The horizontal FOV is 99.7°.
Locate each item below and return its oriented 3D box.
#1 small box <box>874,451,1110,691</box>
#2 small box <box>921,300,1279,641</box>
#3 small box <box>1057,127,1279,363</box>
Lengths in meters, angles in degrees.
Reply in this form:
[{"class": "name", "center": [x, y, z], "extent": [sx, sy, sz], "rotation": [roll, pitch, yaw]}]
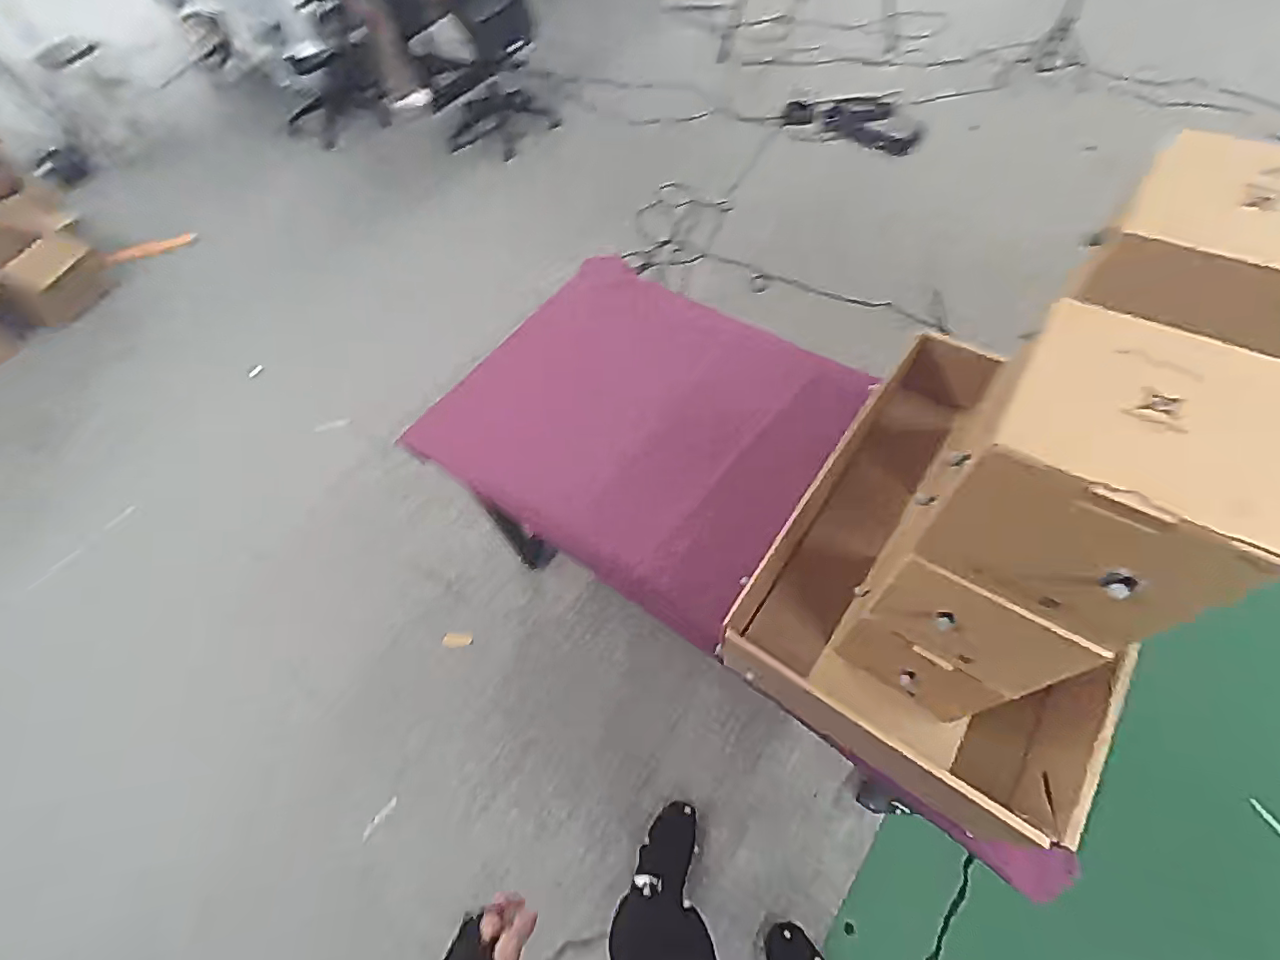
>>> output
[{"class": "small box", "center": [0.367, 0.090, 0.564], "extent": [0.168, 0.176, 0.179], "rotation": [30, 65, 23]}, {"class": "small box", "center": [0.353, -0.002, 0.430], "extent": [0.168, 0.176, 0.179], "rotation": [29, 64, 21]}, {"class": "small box", "center": [0.524, -0.190, 0.516], "extent": [0.168, 0.176, 0.179], "rotation": [31, 68, 22]}]
